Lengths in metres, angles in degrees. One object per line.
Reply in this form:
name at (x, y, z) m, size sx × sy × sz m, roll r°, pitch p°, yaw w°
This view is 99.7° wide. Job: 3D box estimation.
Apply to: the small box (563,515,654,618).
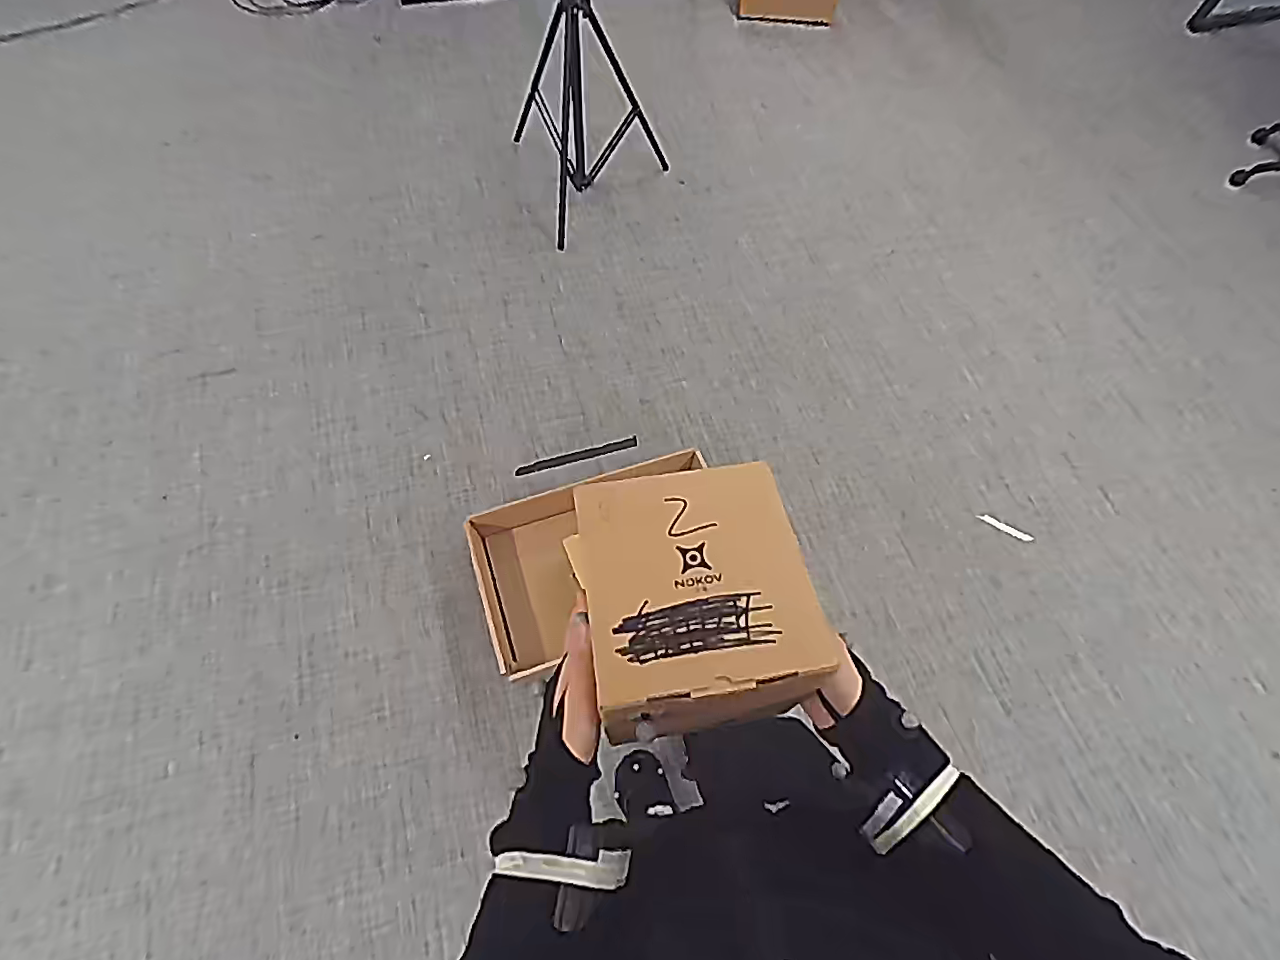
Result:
small box at (-0.079, 0.217, 1.325) m, size 0.168 × 0.176 × 0.179 m, roll -23°, pitch 70°, yaw -12°
